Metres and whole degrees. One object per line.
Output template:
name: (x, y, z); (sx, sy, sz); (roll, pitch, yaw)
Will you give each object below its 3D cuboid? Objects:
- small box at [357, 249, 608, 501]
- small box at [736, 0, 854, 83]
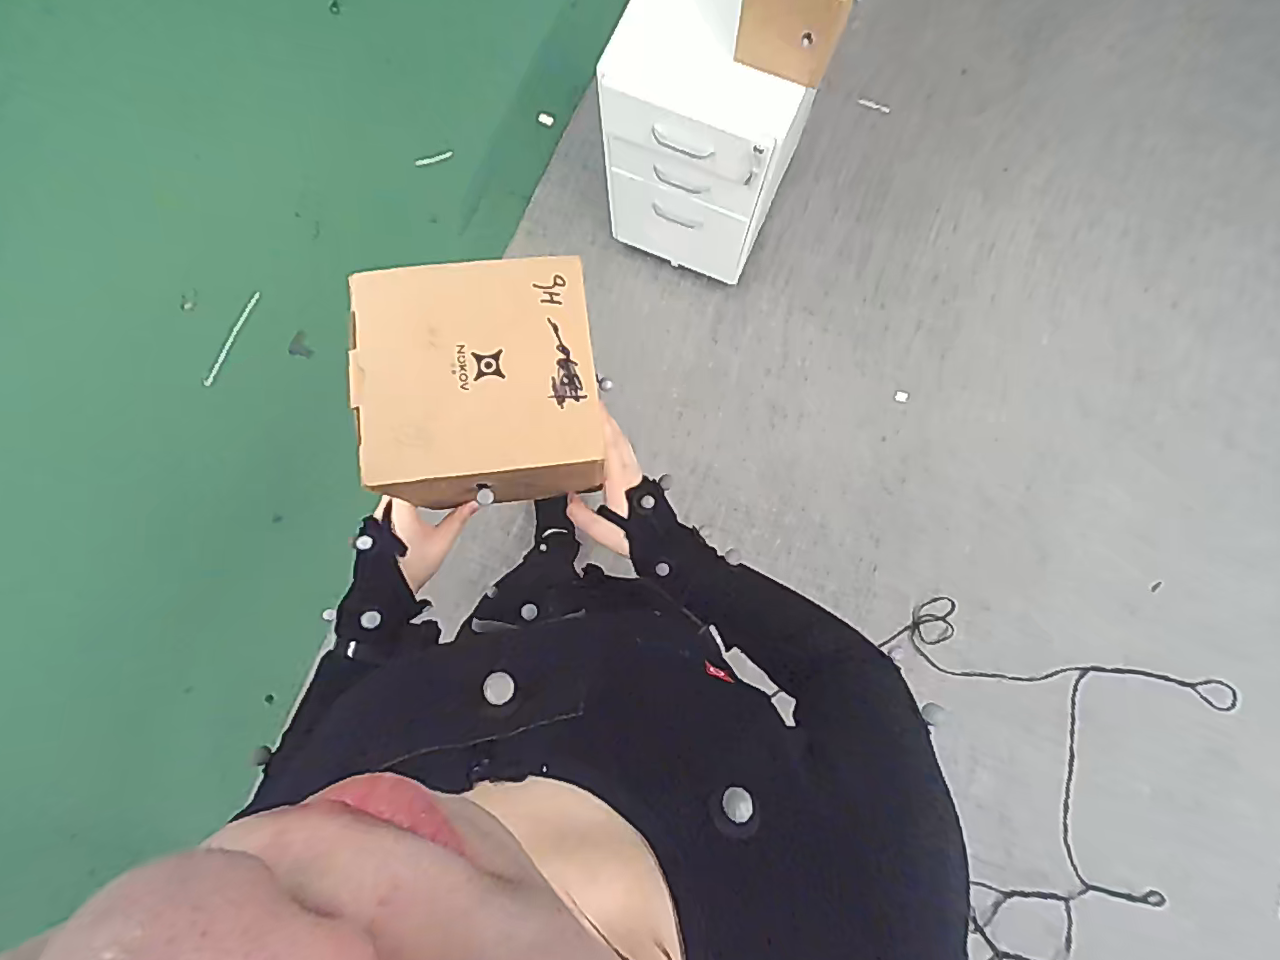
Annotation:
small box: (-0.123, -0.078, 0.480); (0.179, 0.176, 0.168); (-7, 82, -5)
small box: (0.291, -0.869, 0.975); (0.179, 0.176, 0.168); (23, 81, 6)
